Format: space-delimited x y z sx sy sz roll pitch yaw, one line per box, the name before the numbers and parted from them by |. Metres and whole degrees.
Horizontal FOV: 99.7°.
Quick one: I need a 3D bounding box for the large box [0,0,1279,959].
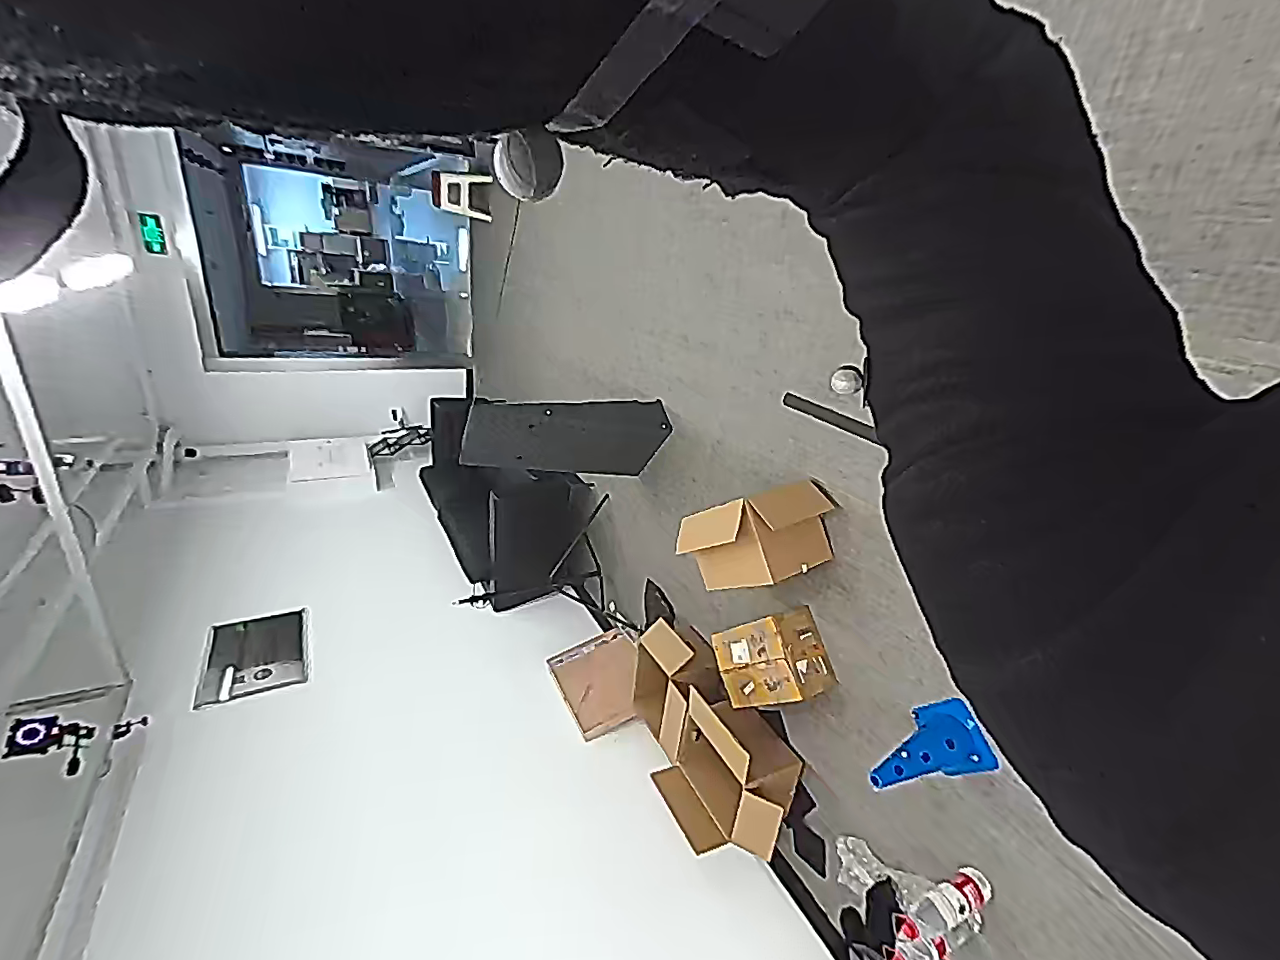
large box | 0.100 0.067 0.146 0.320 0.320 0.408 -47 -146 -19
